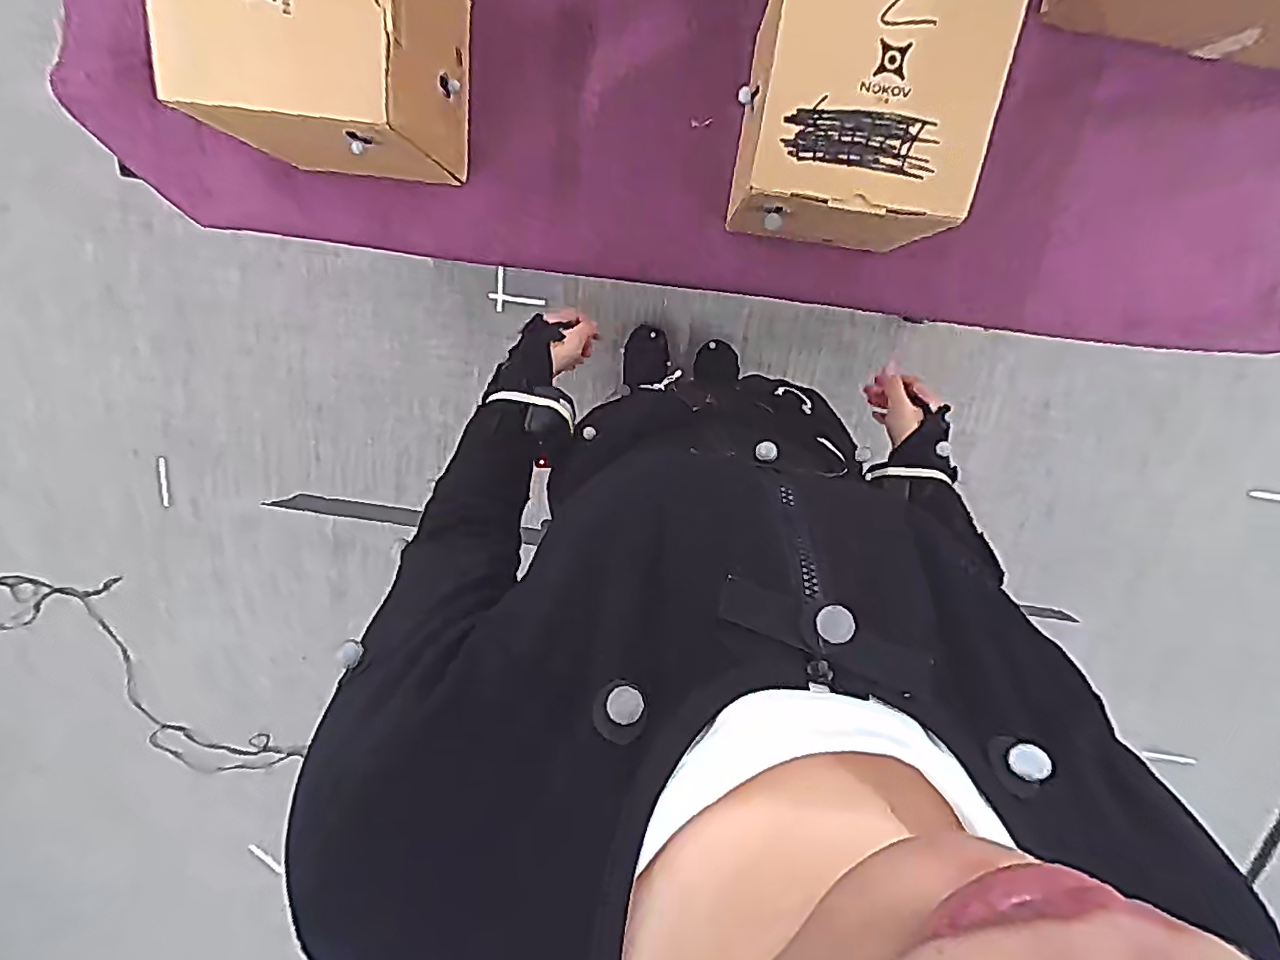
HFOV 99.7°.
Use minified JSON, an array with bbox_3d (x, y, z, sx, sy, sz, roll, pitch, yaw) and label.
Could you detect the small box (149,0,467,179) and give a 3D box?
[{"bbox_3d":[-0.263,-0.374,0.460,0.179,0.176,0.168,5,105,0],"label":"small box"}]
